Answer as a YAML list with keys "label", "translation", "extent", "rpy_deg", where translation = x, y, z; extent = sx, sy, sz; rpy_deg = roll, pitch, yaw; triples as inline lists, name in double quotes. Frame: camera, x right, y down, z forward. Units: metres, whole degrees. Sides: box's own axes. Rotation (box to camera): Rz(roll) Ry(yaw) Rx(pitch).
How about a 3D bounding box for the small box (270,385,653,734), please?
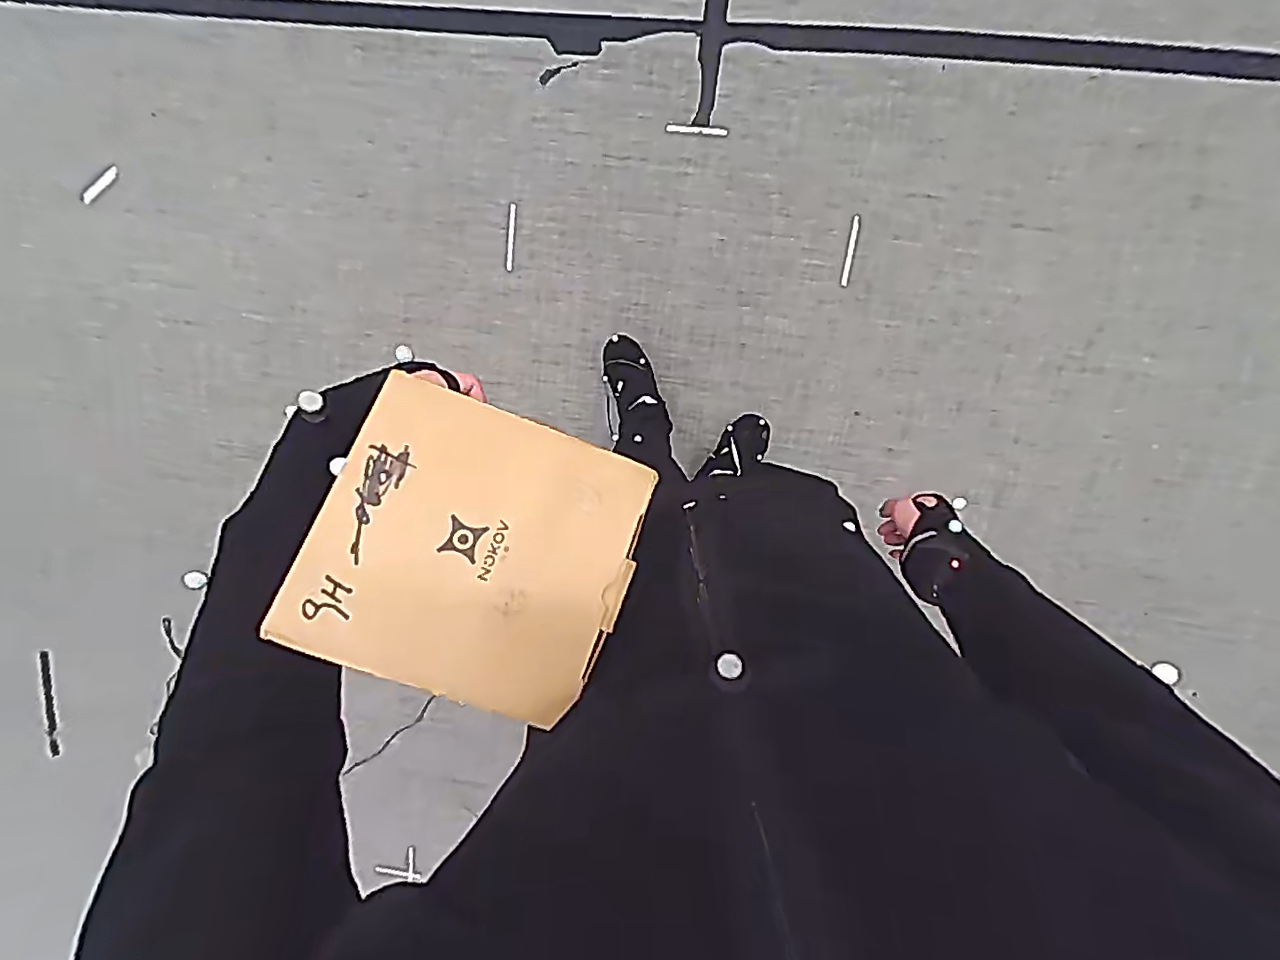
- label: "small box"
  translation: [-0.113, 0.059, 0.400]
  extent: [0.179, 0.176, 0.168]
  rpy_deg: [21, 75, -8]
